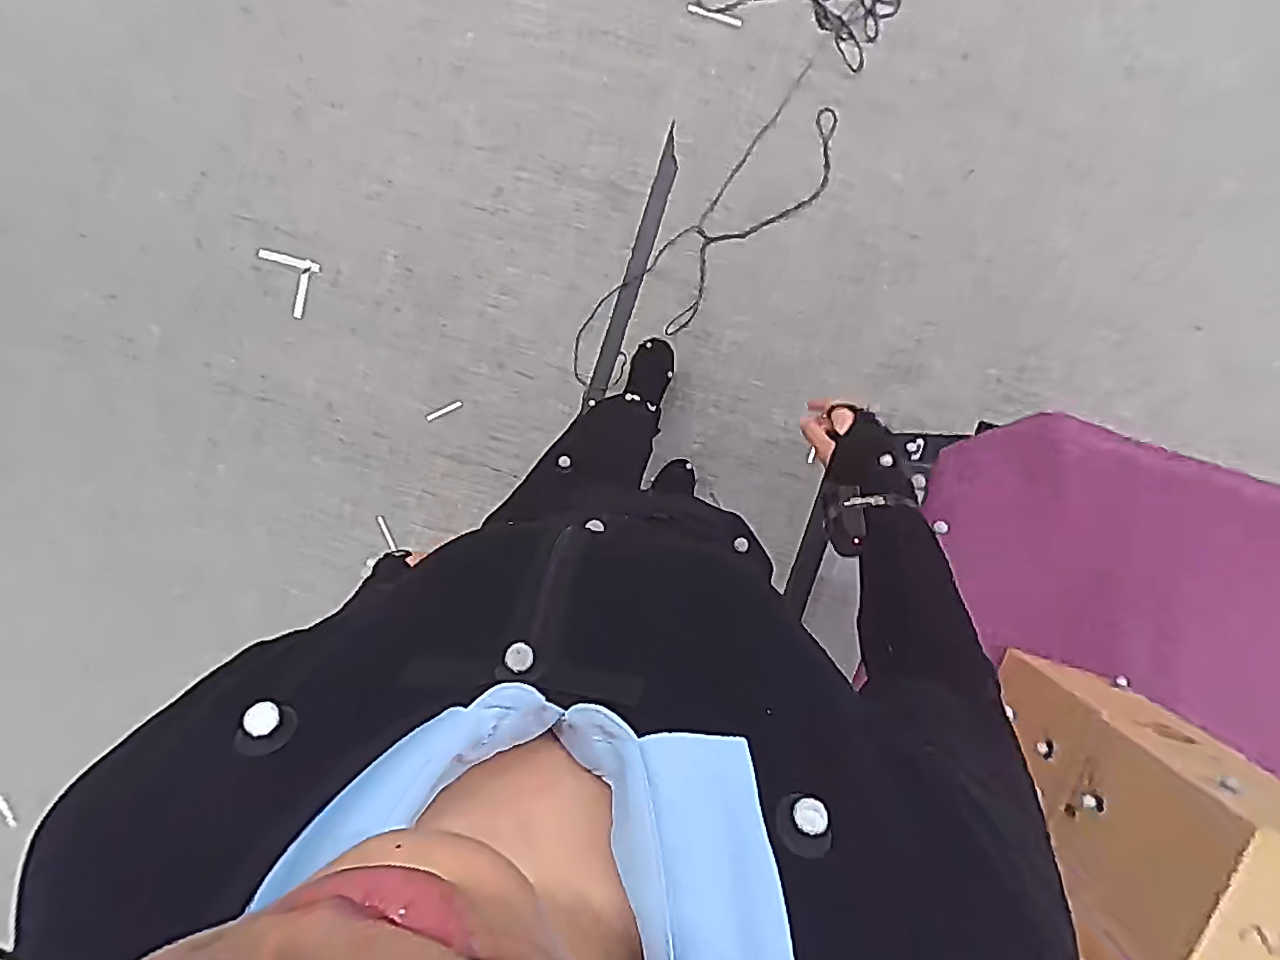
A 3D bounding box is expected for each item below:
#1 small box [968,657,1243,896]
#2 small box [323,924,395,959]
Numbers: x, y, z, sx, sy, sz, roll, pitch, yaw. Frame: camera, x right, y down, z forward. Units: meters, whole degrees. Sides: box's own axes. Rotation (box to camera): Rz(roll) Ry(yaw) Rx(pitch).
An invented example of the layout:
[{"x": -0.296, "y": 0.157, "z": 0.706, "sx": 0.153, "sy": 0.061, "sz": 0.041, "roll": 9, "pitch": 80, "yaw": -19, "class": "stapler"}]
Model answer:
[{"x": 0.551, "y": 0.348, "z": 0.671, "sx": 0.168, "sy": 0.176, "sz": 0.179, "roll": 18, "pitch": 98, "yaw": 2, "class": "small box"}, {"x": -0.830, "y": 1.435, "z": 1.549, "sx": 0.168, "sy": 0.176, "sz": 0.179, "roll": 15, "pitch": 98, "yaw": 2, "class": "small box"}]
